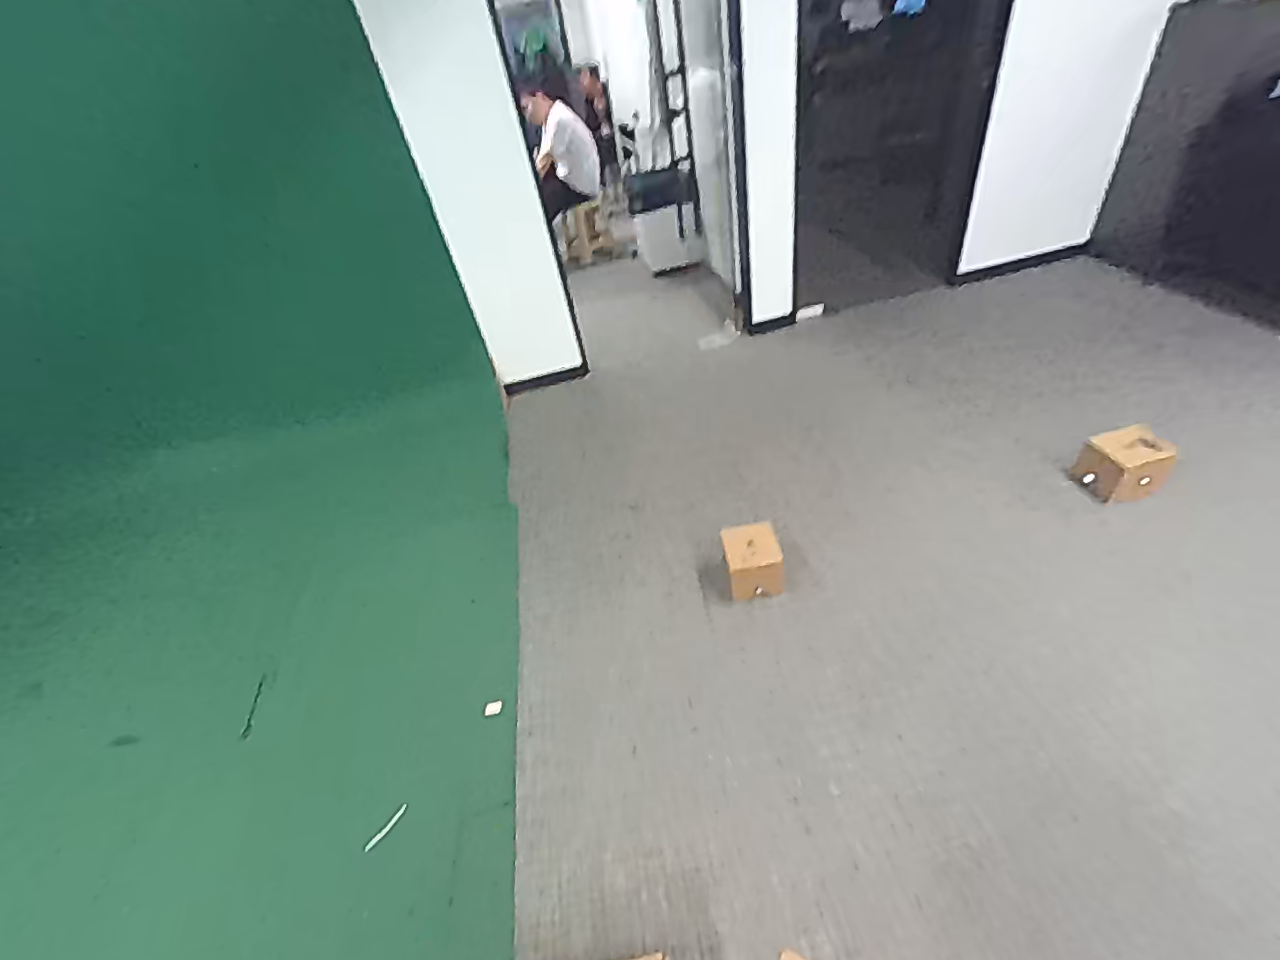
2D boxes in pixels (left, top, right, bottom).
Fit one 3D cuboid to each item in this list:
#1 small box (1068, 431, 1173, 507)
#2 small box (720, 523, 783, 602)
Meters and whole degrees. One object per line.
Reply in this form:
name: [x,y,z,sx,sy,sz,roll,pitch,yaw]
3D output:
small box: [1.589,-0.036,1.802,0.179,0.176,0.168,-13,40,-1]
small box: [0.356,0.267,1.748,0.168,0.176,0.179,-10,40,3]
